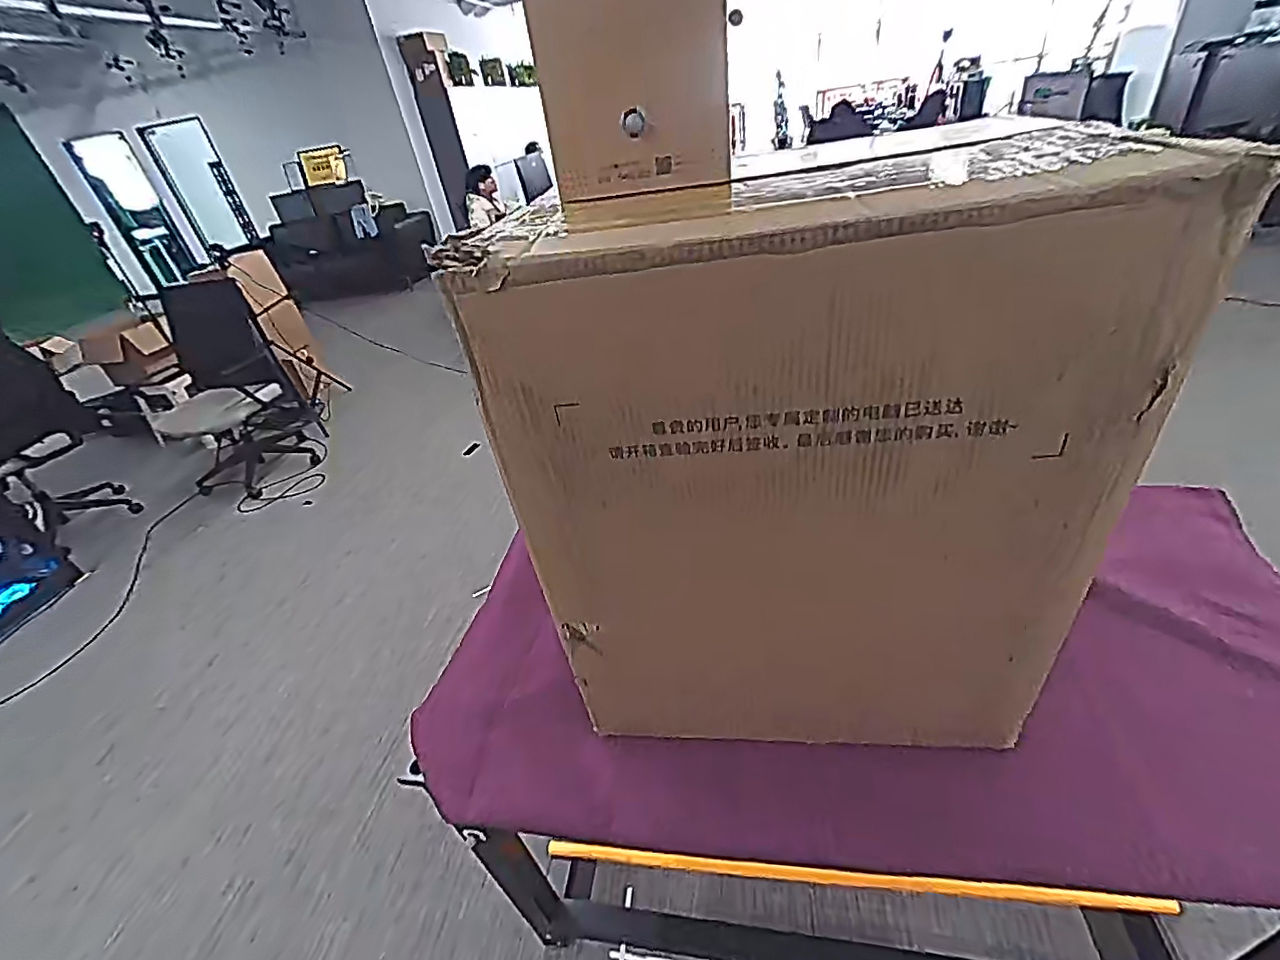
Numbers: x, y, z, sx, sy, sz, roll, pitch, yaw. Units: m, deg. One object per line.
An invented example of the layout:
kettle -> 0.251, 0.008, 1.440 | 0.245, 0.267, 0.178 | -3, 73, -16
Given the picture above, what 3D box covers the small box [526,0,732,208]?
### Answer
small box -> 0.005, -0.382, 0.543 | 0.168, 0.176, 0.179 | -3, 35, 10
